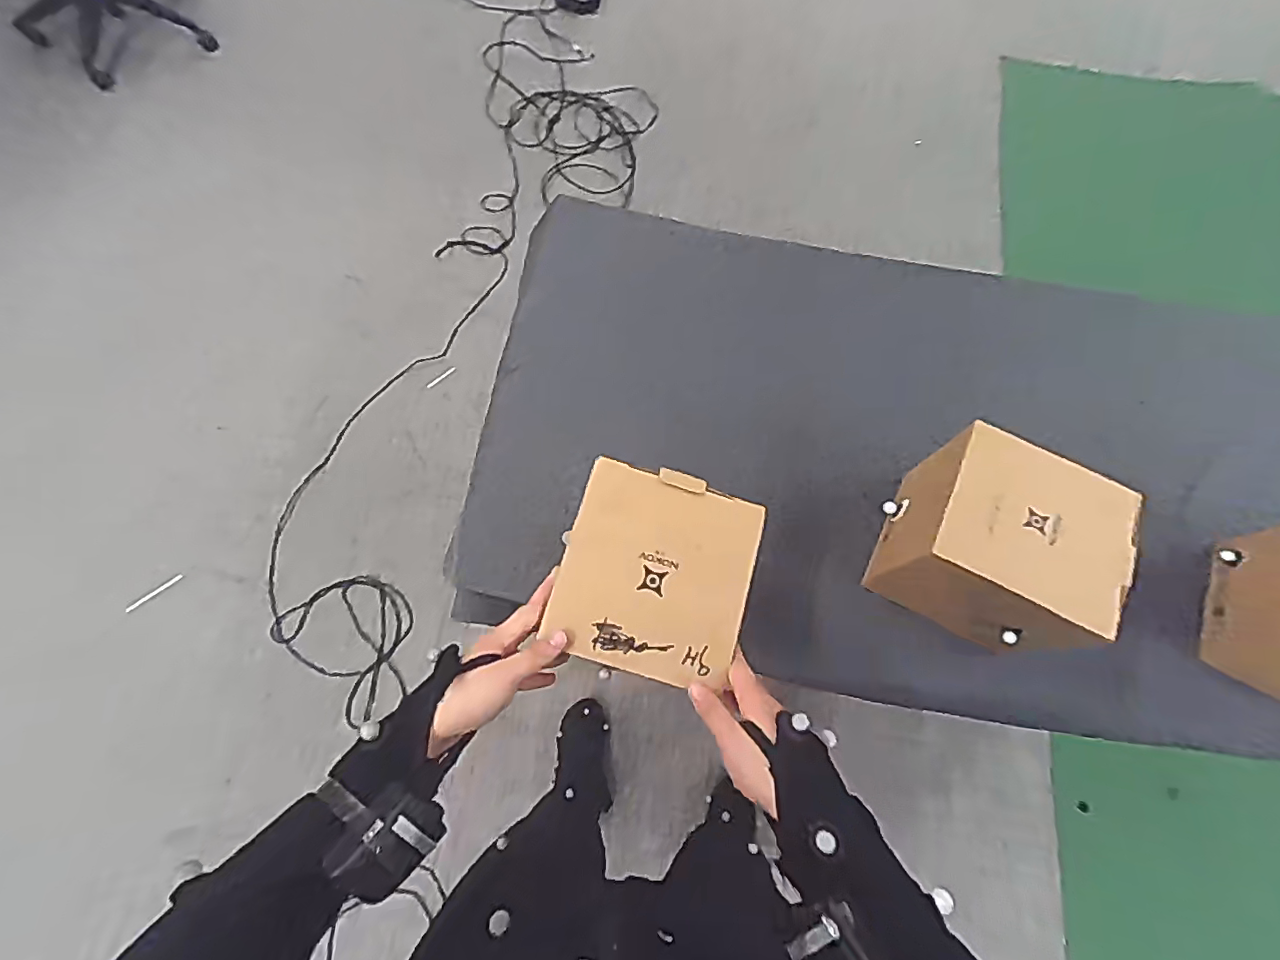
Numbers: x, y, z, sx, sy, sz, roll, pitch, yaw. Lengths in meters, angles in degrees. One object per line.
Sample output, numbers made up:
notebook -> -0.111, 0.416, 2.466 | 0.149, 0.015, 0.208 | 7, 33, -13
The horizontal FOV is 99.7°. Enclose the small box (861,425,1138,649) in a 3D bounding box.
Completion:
small box -> 0.381, 0.074, 0.599 | 0.179, 0.176, 0.168 | 26, 70, 9

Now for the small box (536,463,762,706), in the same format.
small box -> 0.005, 0.108, 0.551 | 0.168, 0.176, 0.179 | 18, 74, 0

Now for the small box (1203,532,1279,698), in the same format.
small box -> 0.769, 0.155, 0.572 | 0.179, 0.176, 0.168 | 28, 71, 9
